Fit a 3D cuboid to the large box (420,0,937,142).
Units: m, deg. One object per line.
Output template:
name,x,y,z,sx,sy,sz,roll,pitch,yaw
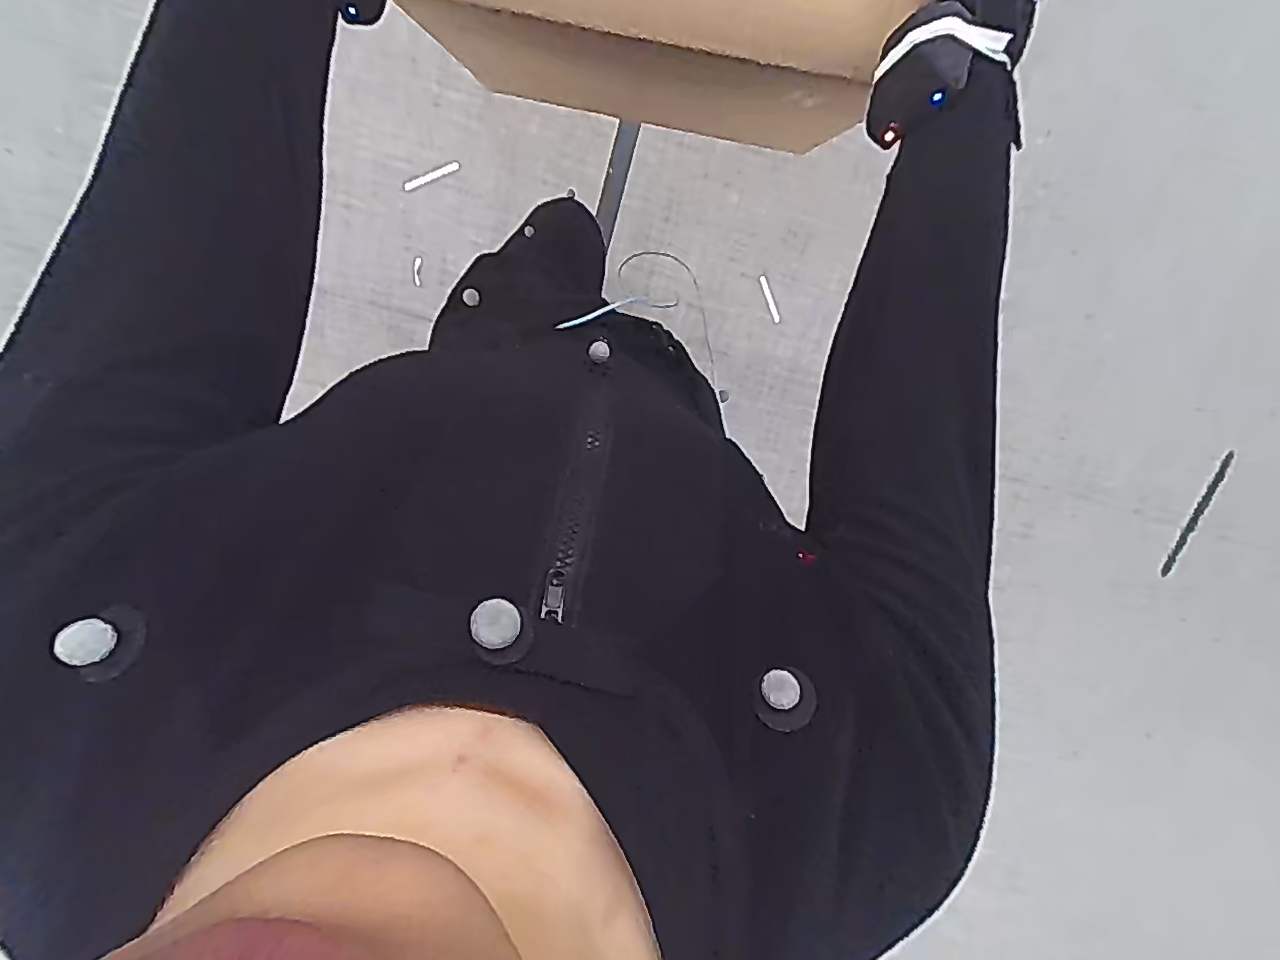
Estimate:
large box,0.038,-0.532,0.478,0.408,0.320,0.320,9,115,-4
